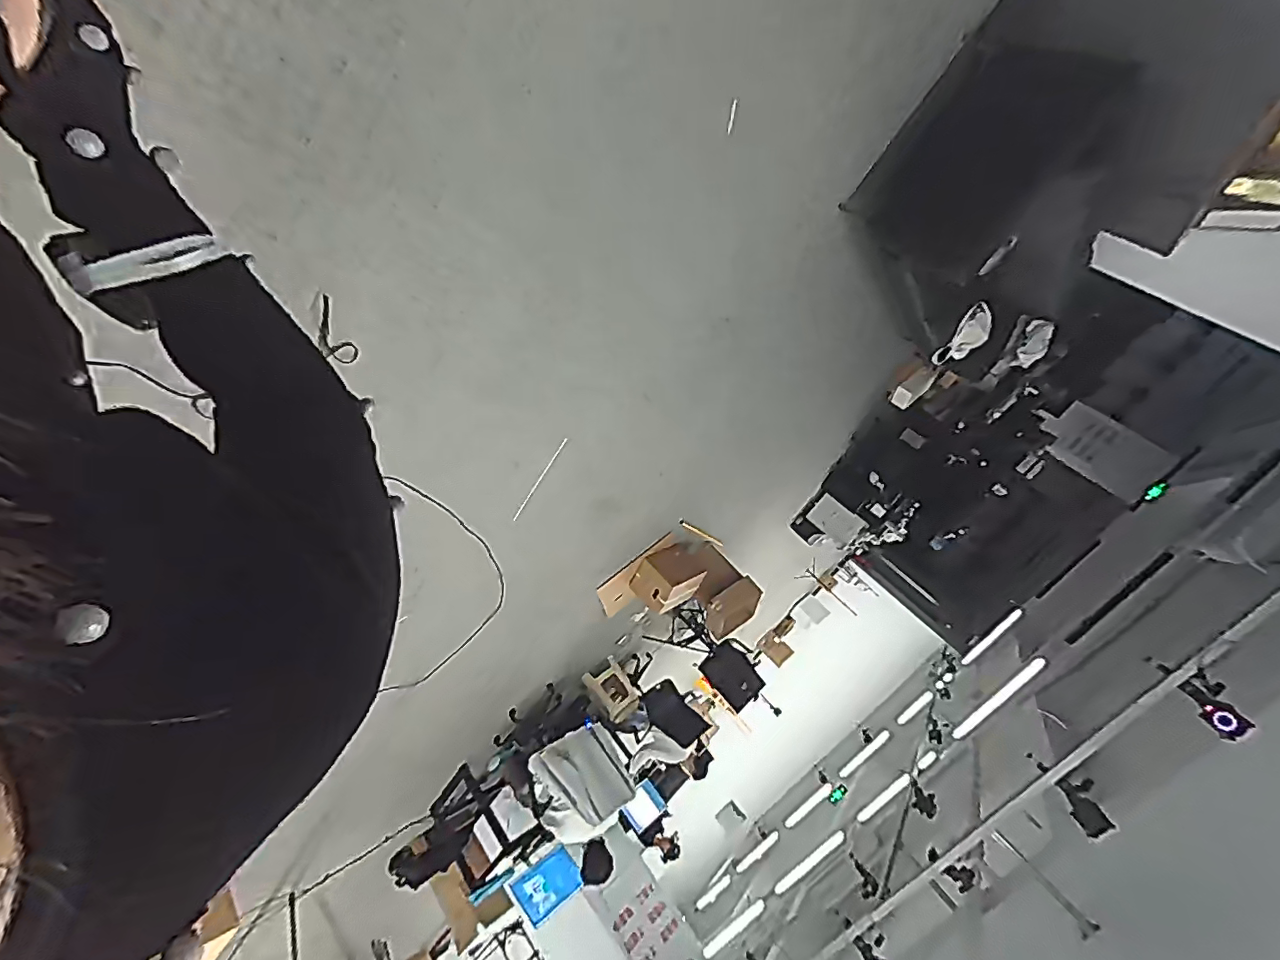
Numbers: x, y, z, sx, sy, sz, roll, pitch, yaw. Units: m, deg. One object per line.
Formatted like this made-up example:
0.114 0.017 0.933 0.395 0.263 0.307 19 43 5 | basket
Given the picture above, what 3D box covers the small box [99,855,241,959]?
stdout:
-1.031 0.975 1.185 0.168 0.176 0.179 -52 152 13 | small box
